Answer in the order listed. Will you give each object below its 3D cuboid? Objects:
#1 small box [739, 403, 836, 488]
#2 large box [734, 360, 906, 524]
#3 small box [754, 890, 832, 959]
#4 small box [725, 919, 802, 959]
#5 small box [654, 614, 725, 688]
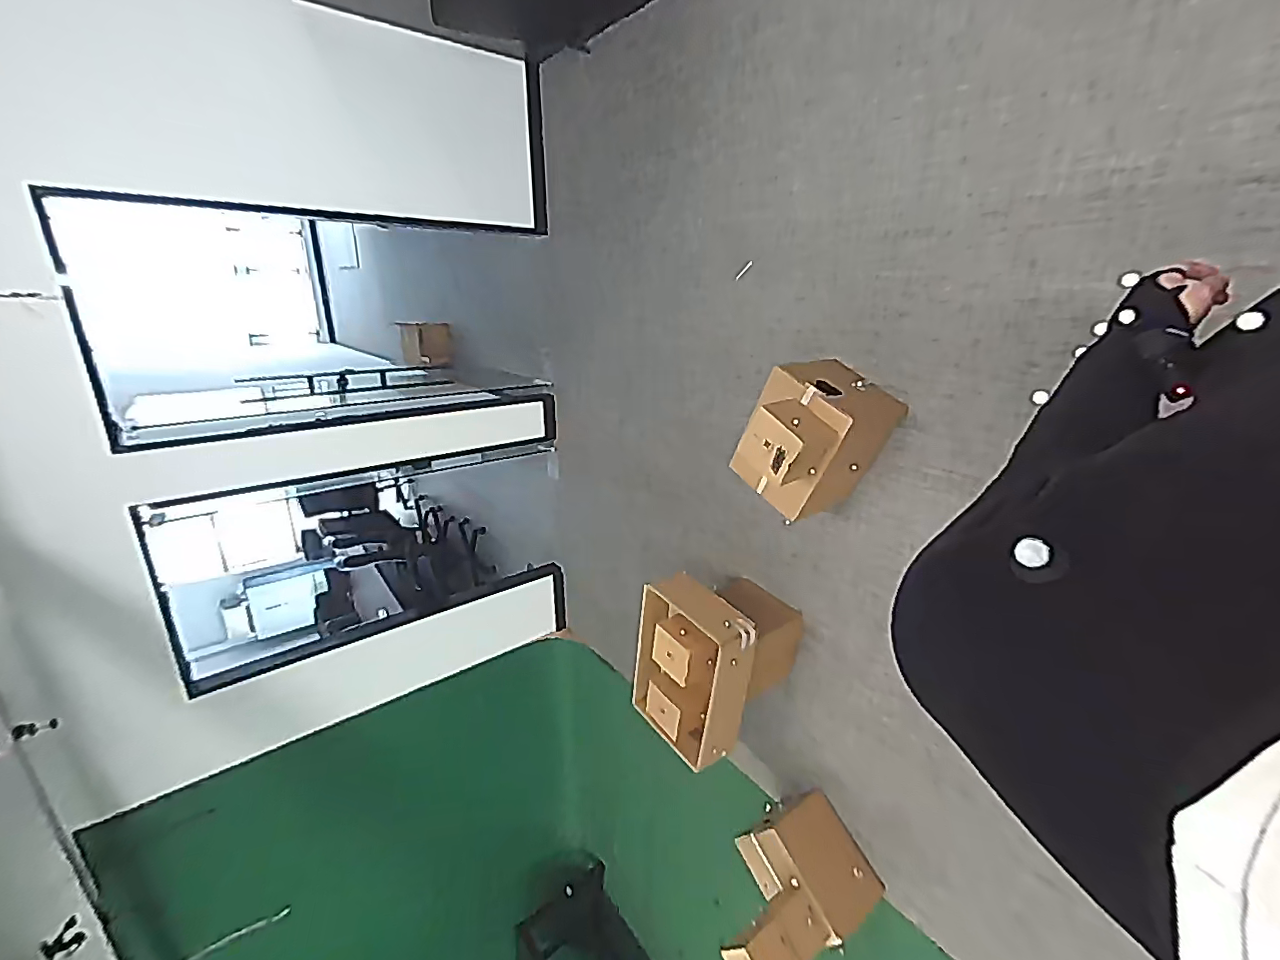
[{"bbox_3d":[0.427,-0.108,1.559,0.179,0.176,0.168,49,136,30],"label":"small box"},{"bbox_3d":[0.576,-0.135,1.769,0.320,0.320,0.408,47,136,34],"label":"large box"},{"bbox_3d":[0.557,1.631,1.960,0.168,0.176,0.179,56,138,25],"label":"small box"},{"bbox_3d":[0.433,1.655,1.855,0.168,0.176,0.179,56,139,26],"label":"small box"},{"bbox_3d":[0.177,0.606,1.948,0.179,0.176,0.168,31,124,42],"label":"small box"}]
